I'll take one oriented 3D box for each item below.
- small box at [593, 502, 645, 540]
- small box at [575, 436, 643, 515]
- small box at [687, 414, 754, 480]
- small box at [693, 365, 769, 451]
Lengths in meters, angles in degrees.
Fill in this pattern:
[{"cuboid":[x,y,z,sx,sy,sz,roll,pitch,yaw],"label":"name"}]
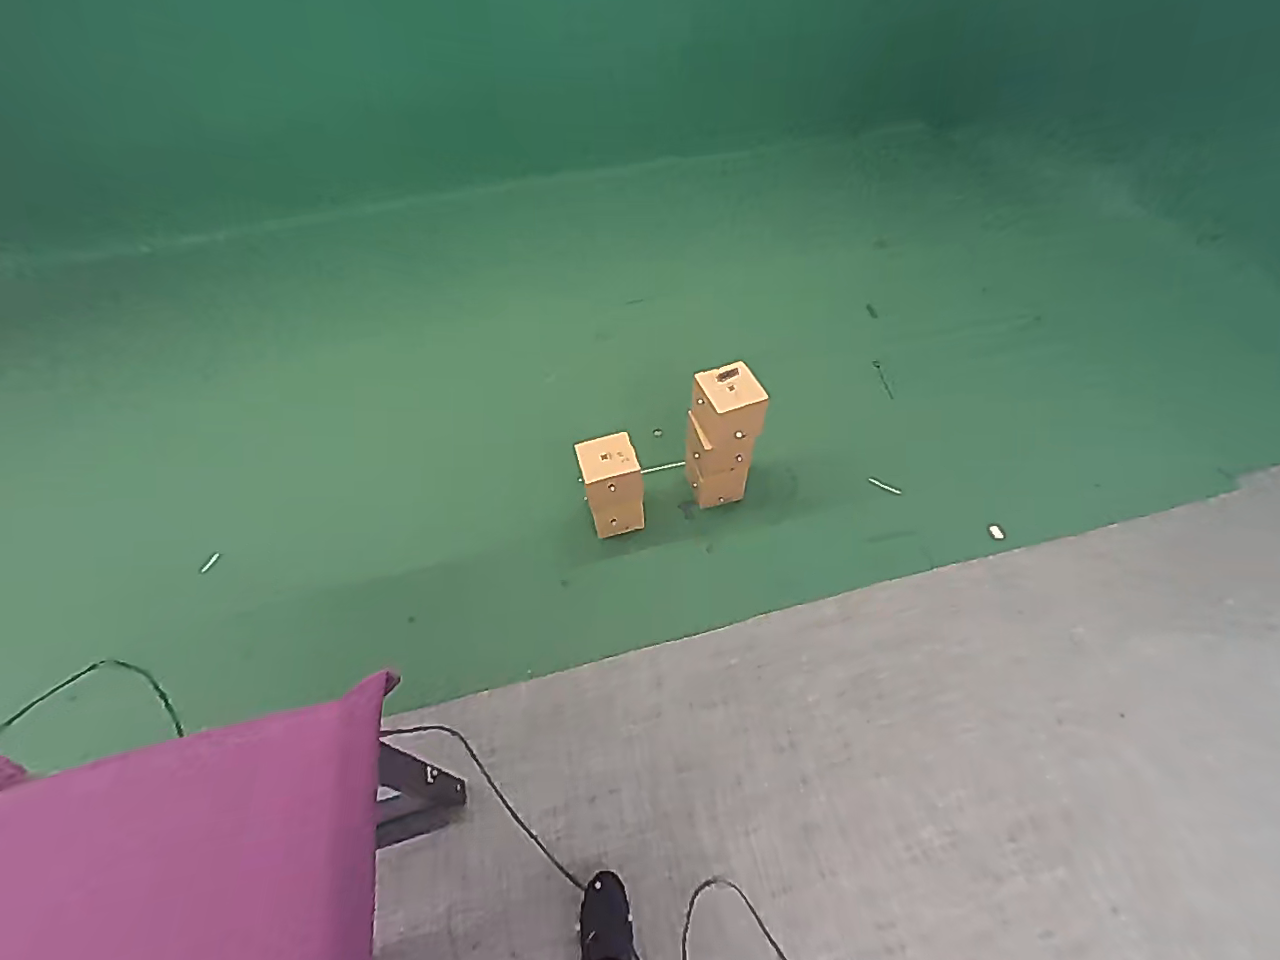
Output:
[{"cuboid":[-0.085,0.087,1.861,0.168,0.176,0.179,-15,52,-7],"label":"small box"},{"cuboid":[-0.095,-0.009,1.728,0.179,0.176,0.168,-15,53,-8],"label":"small box"},{"cuboid":[0.261,-0.118,1.789,0.168,0.176,0.179,-13,54,-8],"label":"small box"},{"cuboid":[0.270,-0.219,1.660,0.168,0.176,0.179,-18,56,-11],"label":"small box"}]
